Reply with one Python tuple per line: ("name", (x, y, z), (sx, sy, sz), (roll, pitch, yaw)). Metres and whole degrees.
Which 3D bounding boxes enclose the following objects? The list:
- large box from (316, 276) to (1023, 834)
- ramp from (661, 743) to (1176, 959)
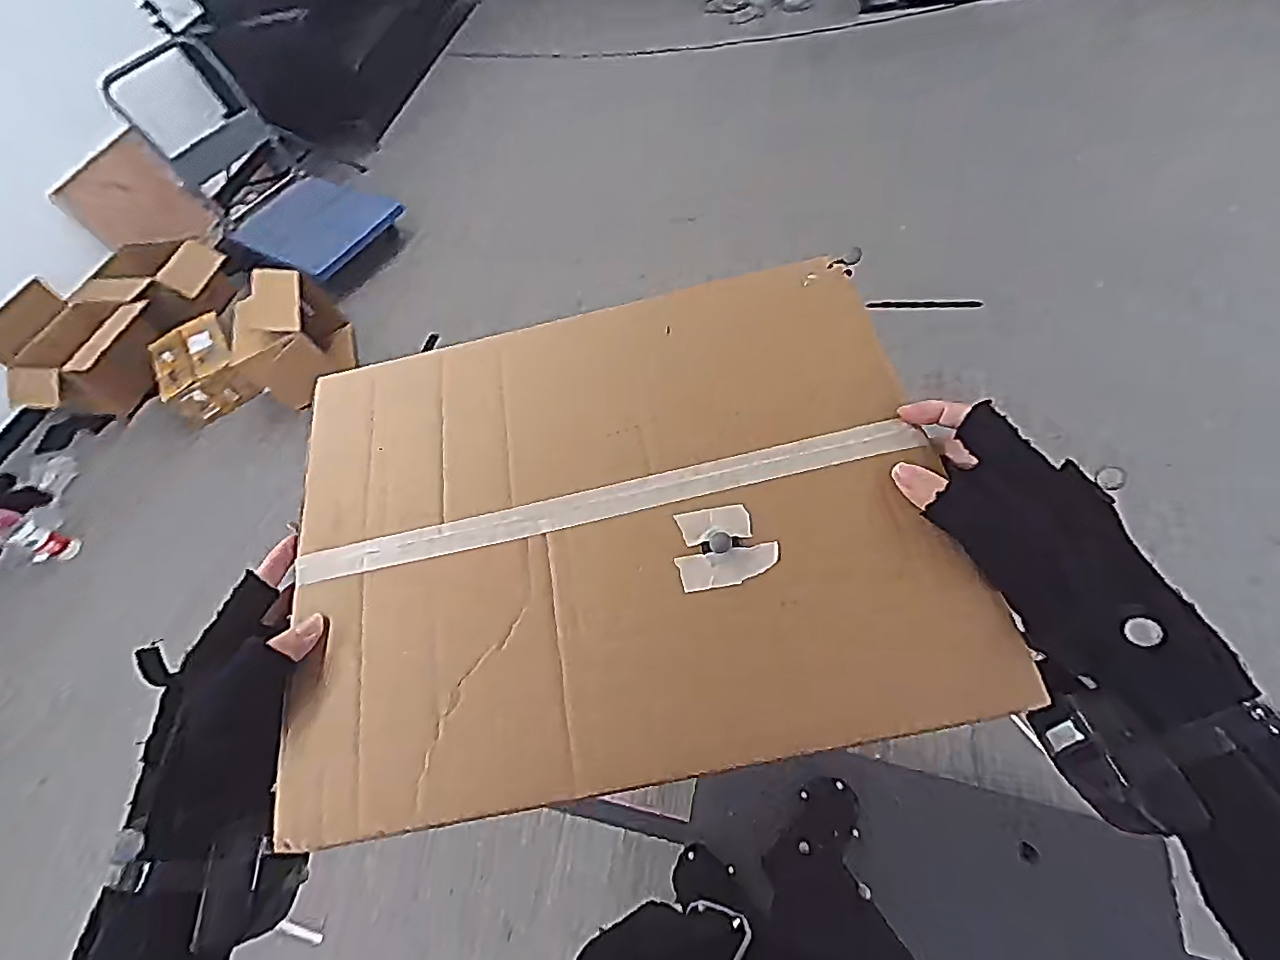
("large box", (0.004, 0.082, 0.490), (0.408, 0.320, 0.320), (-12, 65, 2))
("ramp", (0.576, 0.868, 1.118), (0.991, 0.206, 0.509), (6, 60, 14))
